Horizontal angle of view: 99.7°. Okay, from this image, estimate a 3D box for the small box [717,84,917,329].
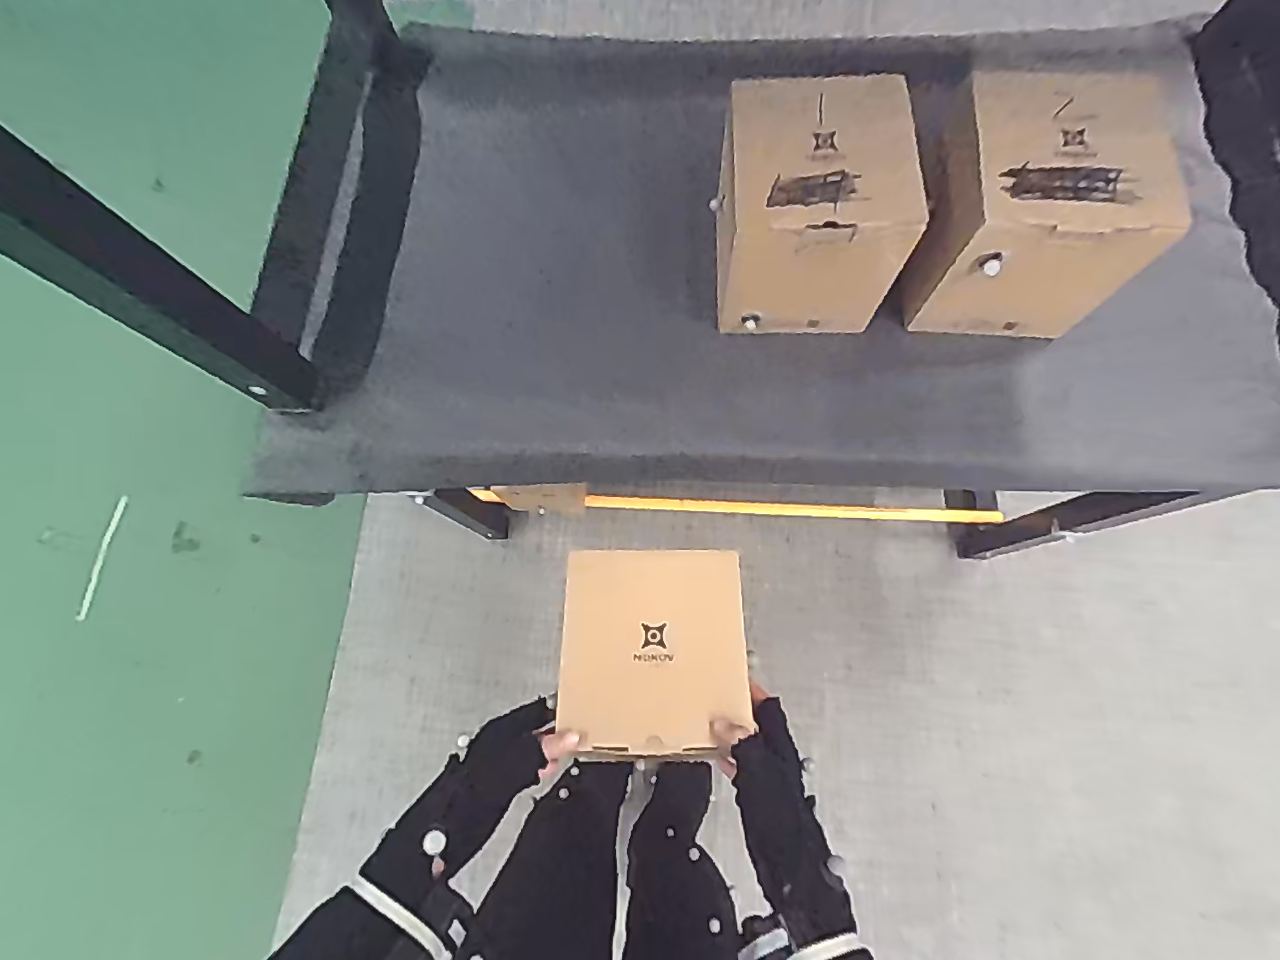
[{"bbox_3d":[0.172,-0.278,0.581,0.168,0.176,0.179,1,73,4],"label":"small box"}]

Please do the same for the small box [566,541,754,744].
[{"bbox_3d":[0.019,0.177,0.573,0.168,0.176,0.179,0,62,1],"label":"small box"}]
